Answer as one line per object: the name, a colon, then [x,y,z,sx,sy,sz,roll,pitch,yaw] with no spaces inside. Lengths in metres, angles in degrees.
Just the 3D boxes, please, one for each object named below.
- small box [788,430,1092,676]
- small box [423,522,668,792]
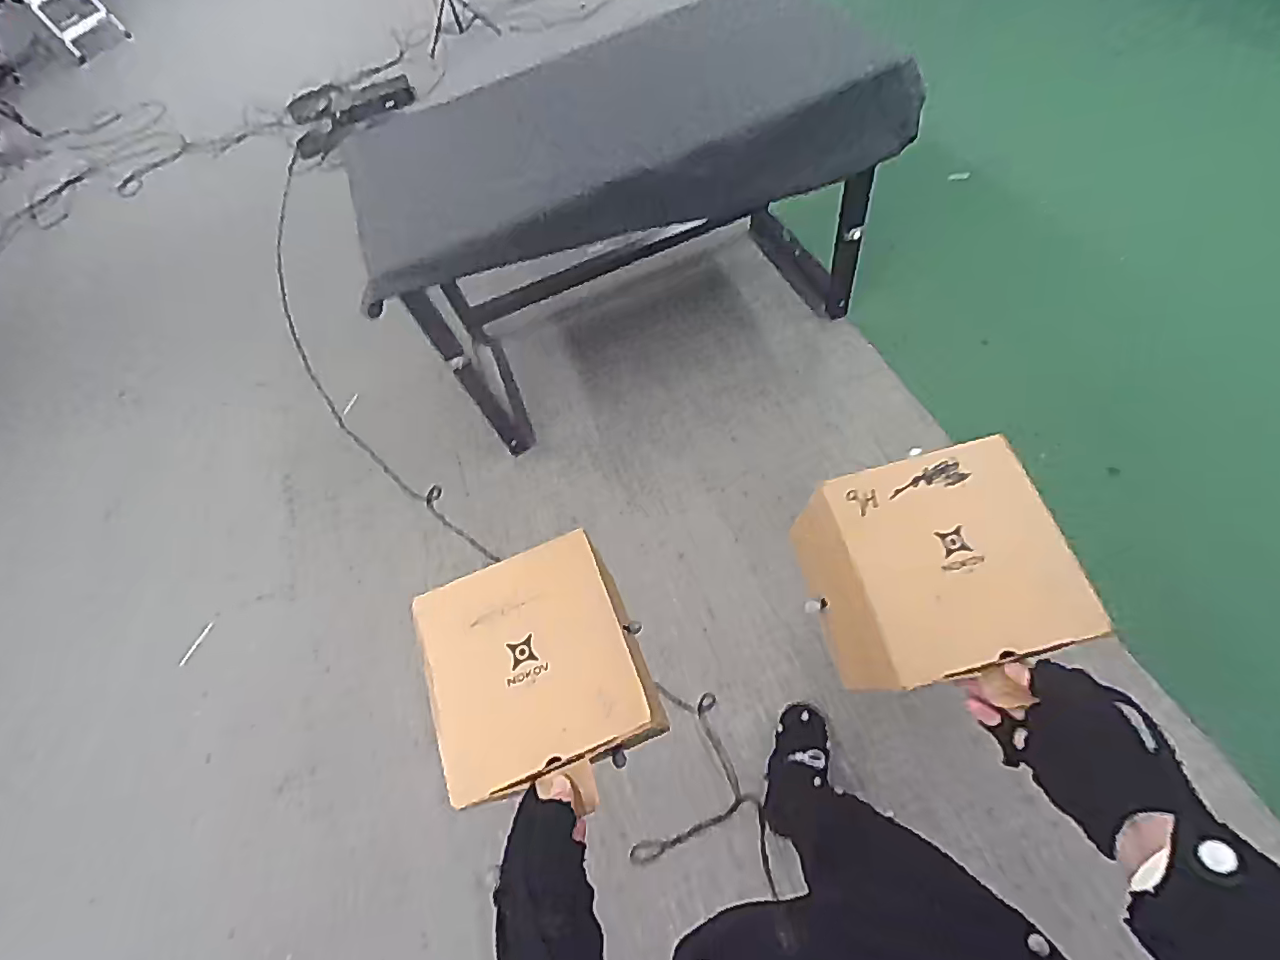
small box: [0.260,0.080,0.522,0.168,0.176,0.179,-15,69,-2]
small box: [-0.080,0.172,0.524,0.168,0.176,0.179,-23,62,-5]
